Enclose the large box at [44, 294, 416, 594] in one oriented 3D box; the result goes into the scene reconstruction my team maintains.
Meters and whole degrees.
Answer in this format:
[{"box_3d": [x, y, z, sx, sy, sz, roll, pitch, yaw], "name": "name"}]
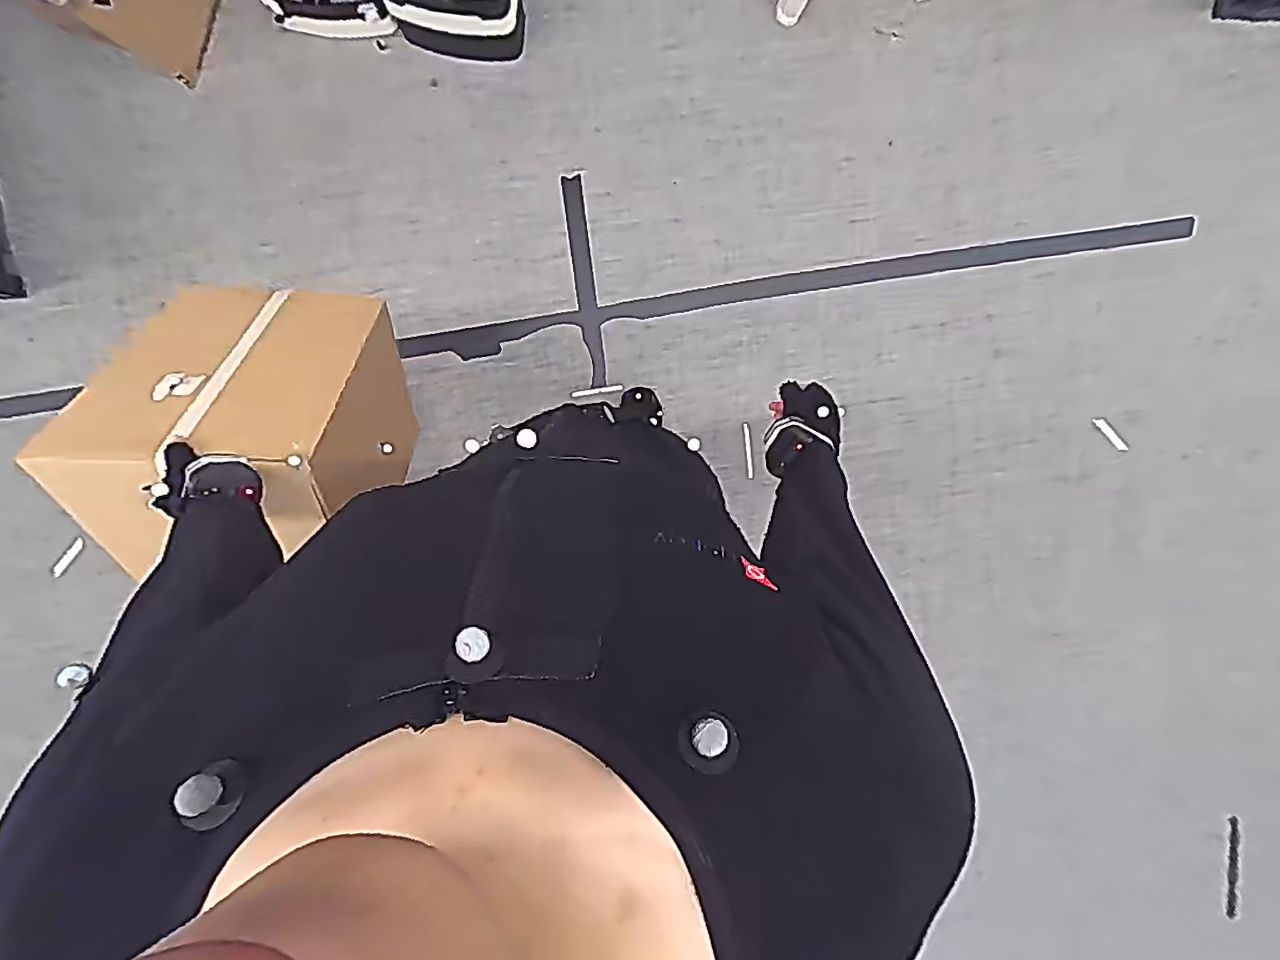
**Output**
[{"box_3d": [-0.591, -0.062, 0.900, 0.320, 0.408, 0.320, 1, 137, -7], "name": "large box"}]
